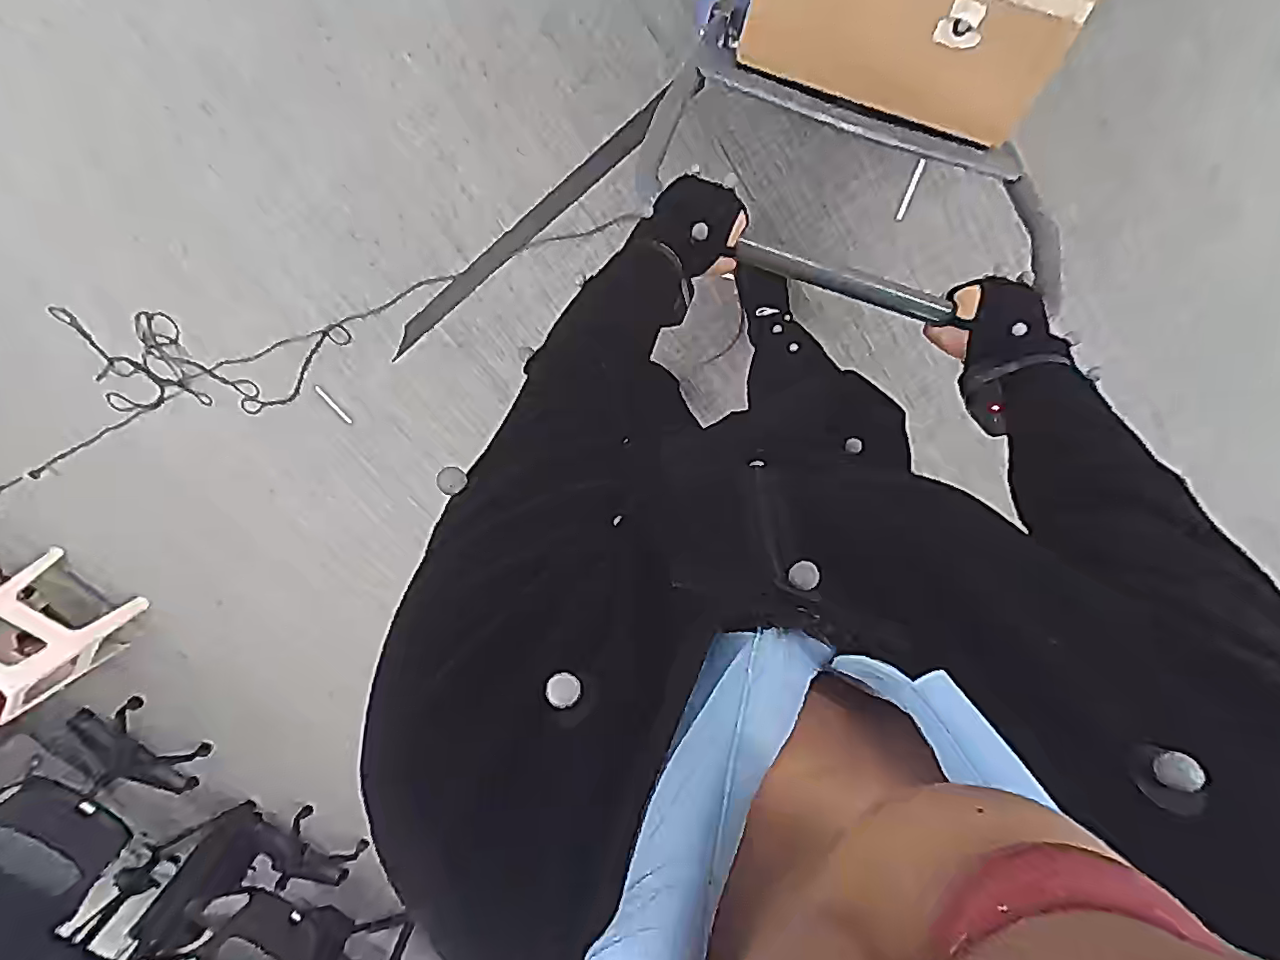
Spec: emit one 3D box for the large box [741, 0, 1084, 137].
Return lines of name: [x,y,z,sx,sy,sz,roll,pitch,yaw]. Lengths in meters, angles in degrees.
large box: [0.389,-0.755,0.772,0.408,0.320,0.320,17,138,-2]
